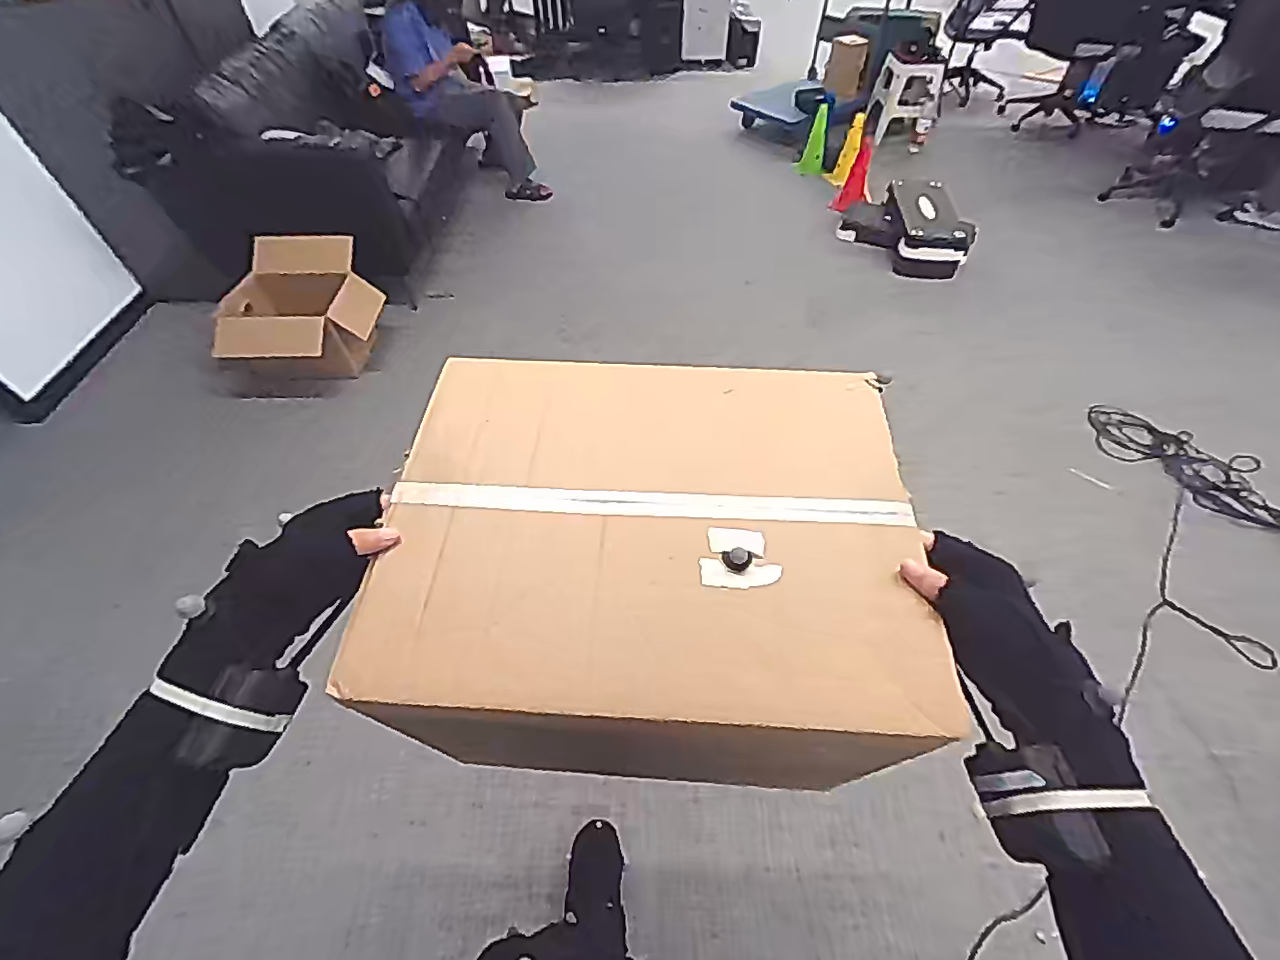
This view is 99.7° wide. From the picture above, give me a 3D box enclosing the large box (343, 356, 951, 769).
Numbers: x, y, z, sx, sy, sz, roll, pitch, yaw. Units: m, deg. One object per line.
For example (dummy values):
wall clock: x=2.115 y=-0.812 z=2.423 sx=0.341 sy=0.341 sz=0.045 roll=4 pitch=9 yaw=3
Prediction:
large box: x=0.007 y=0.097 z=0.553 sx=0.408 sy=0.320 sz=0.320 roll=3 pitch=56 yaw=2
